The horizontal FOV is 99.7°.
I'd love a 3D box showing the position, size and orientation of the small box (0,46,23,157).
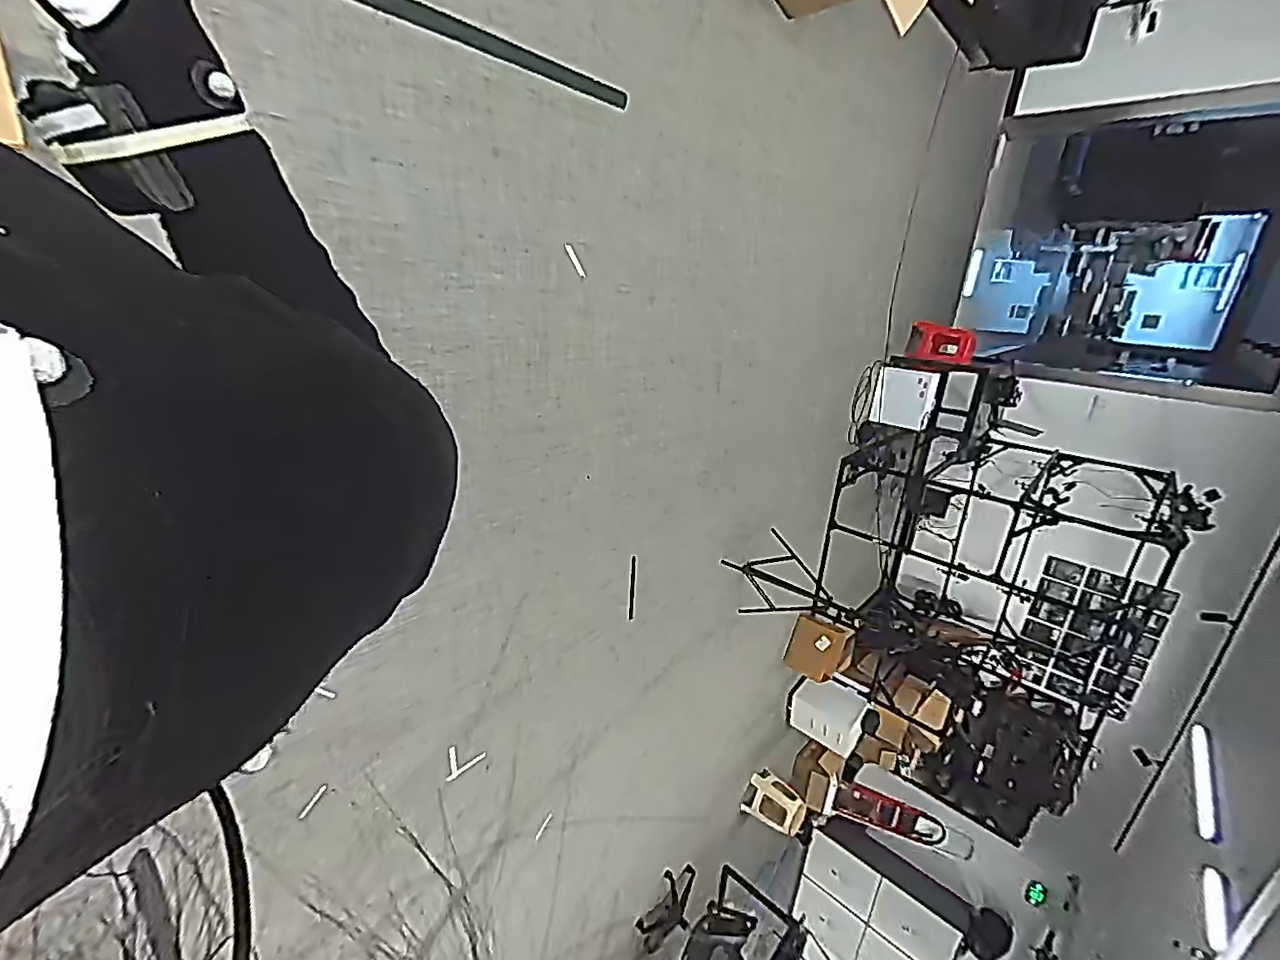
[{"bbox_3d":[-1.058,-0.597,0.801,0.168,0.176,0.179,-16,119,-46],"label":"small box"}]
